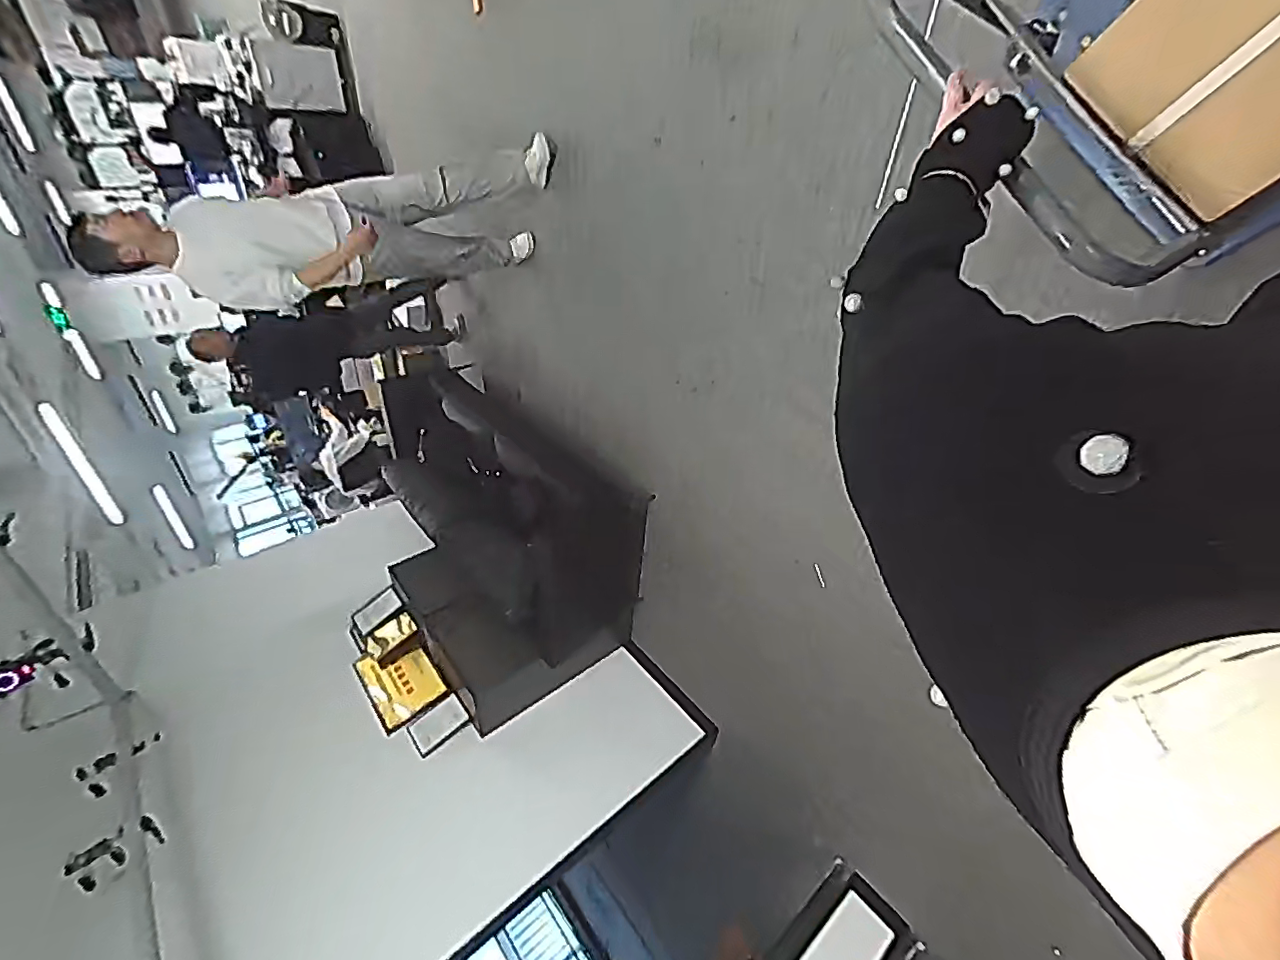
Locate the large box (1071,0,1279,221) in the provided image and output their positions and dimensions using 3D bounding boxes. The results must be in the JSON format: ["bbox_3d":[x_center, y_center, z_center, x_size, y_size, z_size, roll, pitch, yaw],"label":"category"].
[{"bbox_3d":[0.920,-0.621,0.721,0.320,0.320,0.408,58,144,11],"label":"large box"}]
